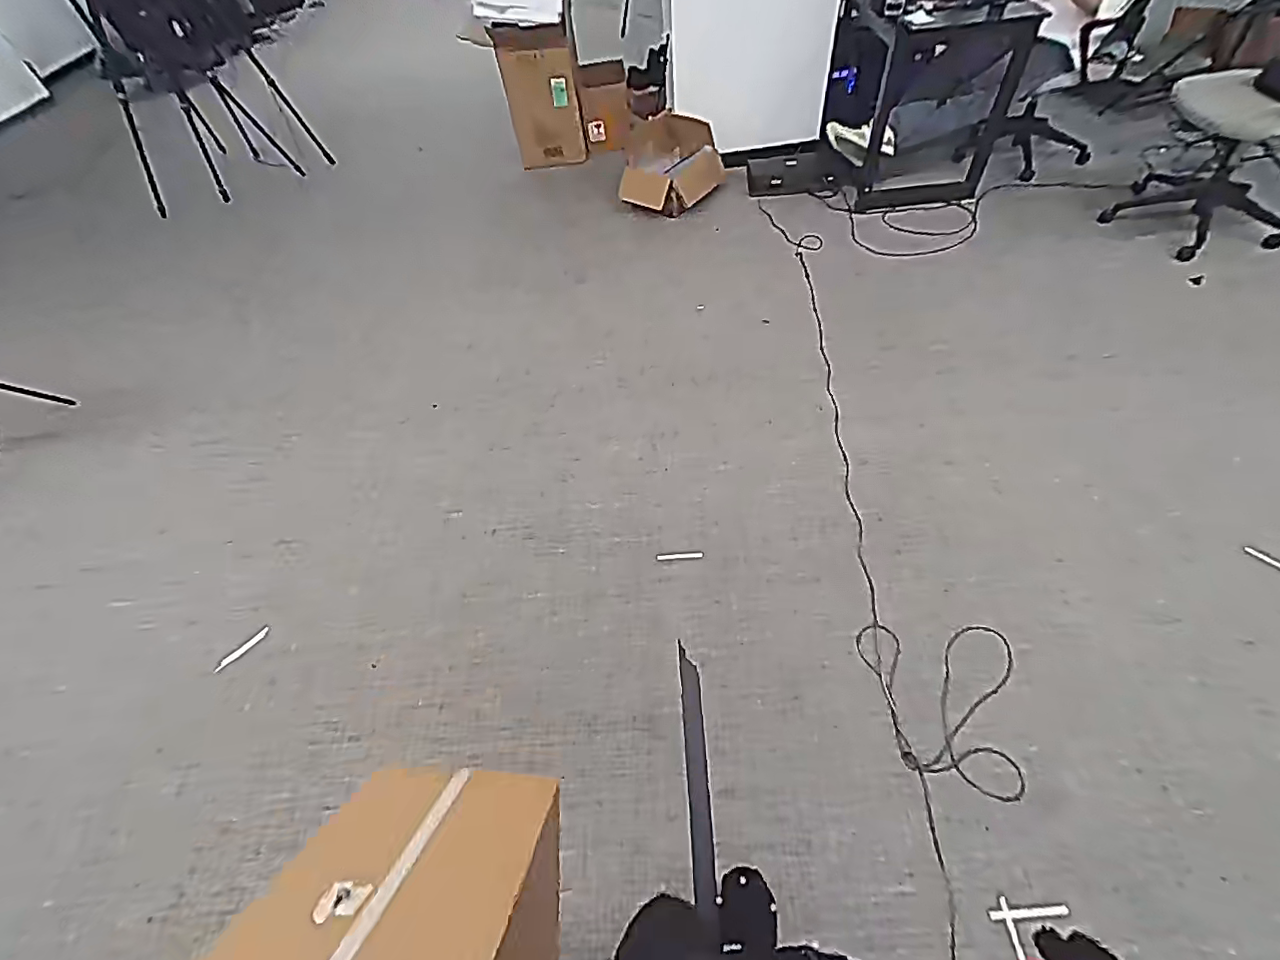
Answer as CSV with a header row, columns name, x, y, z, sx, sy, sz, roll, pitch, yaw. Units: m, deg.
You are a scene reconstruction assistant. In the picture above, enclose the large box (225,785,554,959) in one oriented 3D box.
name,x,y,z,sx,sy,sz,roll,pitch,yaw
large box,-0.303,0.676,0.712,0.320,0.408,0.320,-1,92,4
